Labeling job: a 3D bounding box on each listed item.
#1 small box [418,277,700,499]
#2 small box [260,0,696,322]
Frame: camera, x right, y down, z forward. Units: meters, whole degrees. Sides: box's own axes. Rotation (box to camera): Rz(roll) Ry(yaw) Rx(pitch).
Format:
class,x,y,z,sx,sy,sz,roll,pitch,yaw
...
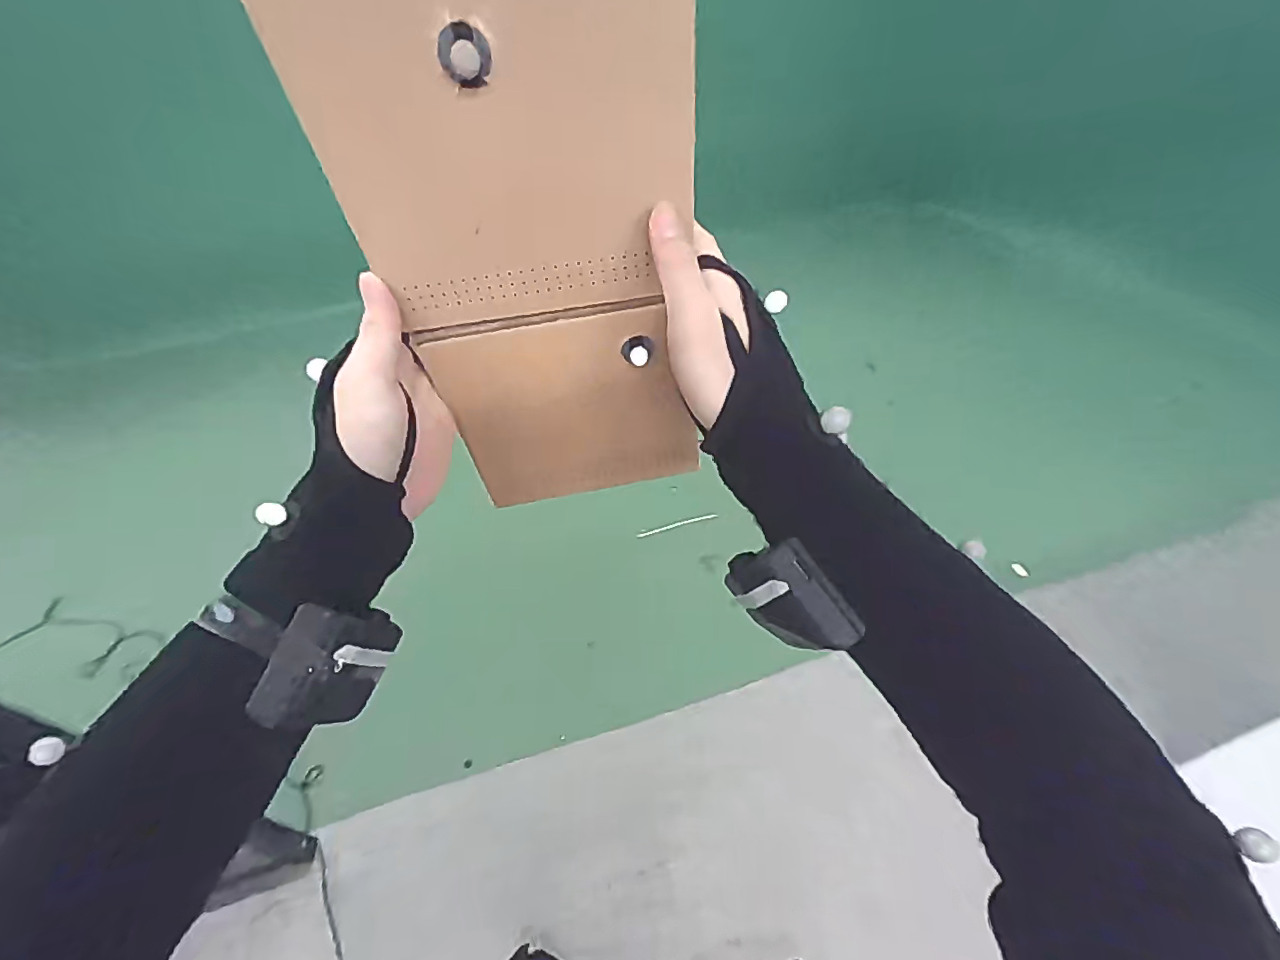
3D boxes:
class,x,y,z,sx,sy,sz,roll,pitch,yaw
small box,-0.052,-0.103,0.437,0.179,0.176,0.168,-10,50,-2
small box,-0.066,-0.209,0.309,0.179,0.176,0.168,-8,50,-2
